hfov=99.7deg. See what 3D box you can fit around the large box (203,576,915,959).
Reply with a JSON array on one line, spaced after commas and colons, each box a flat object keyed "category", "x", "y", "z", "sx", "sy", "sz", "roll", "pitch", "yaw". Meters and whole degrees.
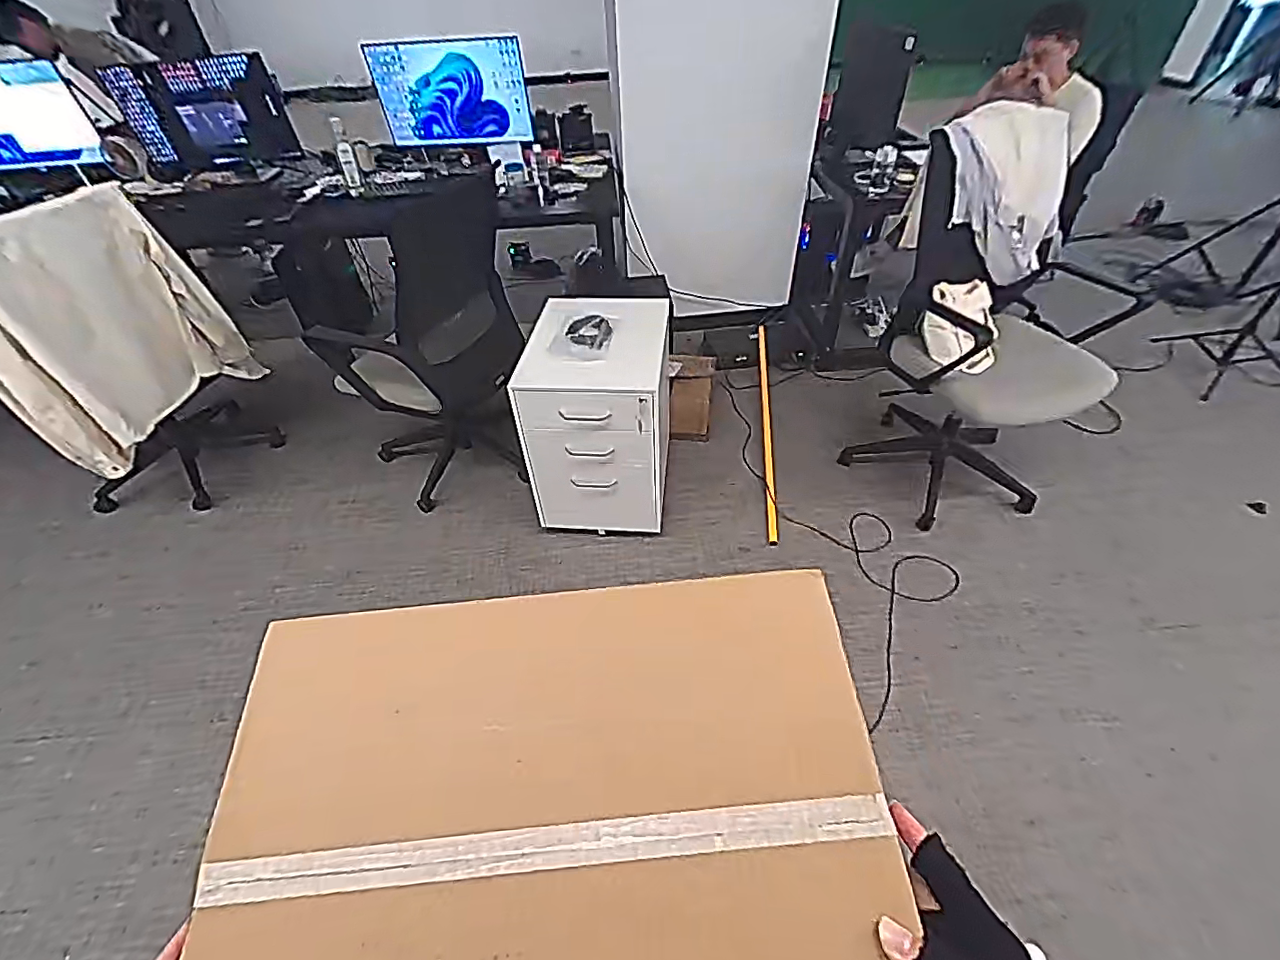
[{"category": "large box", "x": -0.047, "y": 0.300, "z": 0.454, "sx": 0.408, "sy": 0.320, "sz": 0.320, "roll": -6, "pitch": 59, "yaw": 0}]
